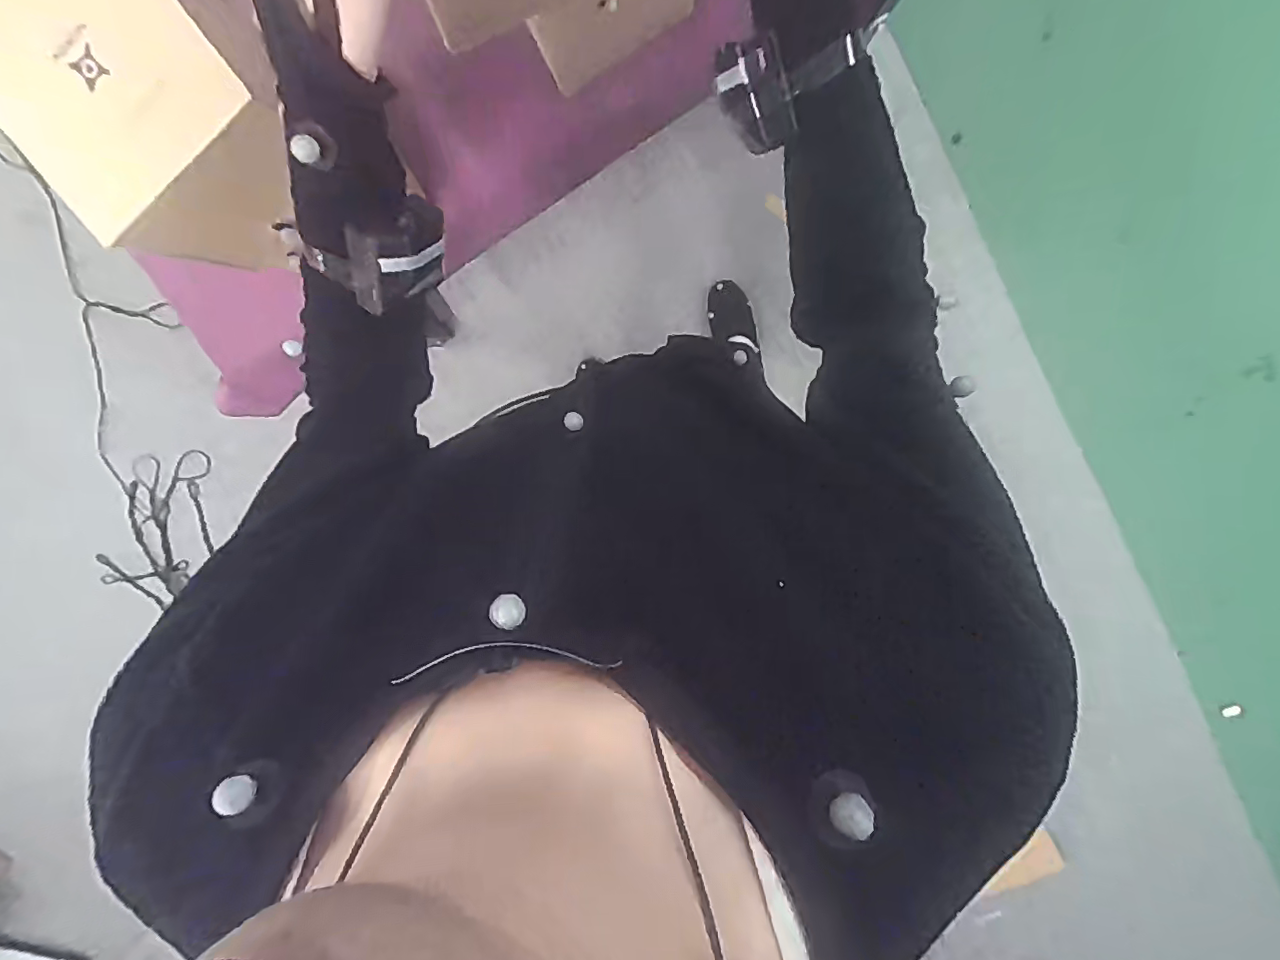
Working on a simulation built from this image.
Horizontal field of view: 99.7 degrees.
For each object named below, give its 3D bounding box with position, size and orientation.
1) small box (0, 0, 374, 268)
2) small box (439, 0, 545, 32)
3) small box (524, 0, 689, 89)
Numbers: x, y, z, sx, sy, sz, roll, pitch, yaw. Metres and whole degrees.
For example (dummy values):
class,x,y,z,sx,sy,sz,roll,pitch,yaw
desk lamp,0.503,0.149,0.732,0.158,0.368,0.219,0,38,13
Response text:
class,x,y,z,sx,sy,sz,roll,pitch,yaw
small box,-0.368,-0.301,0.444,0.168,0.176,0.179,-34,101,11
small box,-0.064,-0.373,0.263,0.179,0.176,0.168,-26,111,-1
small box,-0.055,-0.541,0.535,0.179,0.176,0.168,-28,101,9
